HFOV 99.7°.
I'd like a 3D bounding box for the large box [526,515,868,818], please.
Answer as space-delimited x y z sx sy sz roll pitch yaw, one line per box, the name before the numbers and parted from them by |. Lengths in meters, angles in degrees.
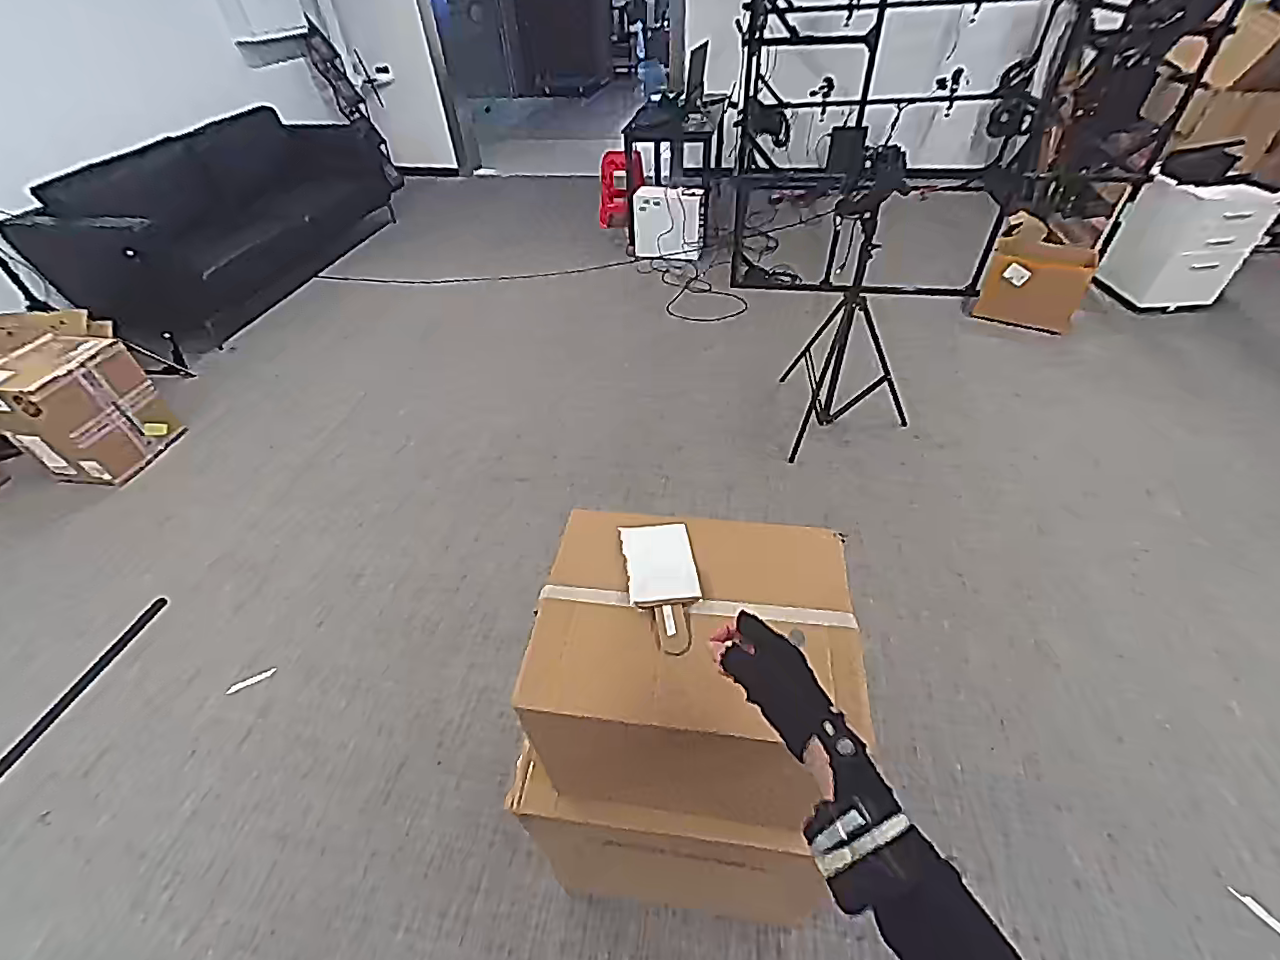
large box | 0.080 0.278 0.827 0.408 0.320 0.320 4 45 7
